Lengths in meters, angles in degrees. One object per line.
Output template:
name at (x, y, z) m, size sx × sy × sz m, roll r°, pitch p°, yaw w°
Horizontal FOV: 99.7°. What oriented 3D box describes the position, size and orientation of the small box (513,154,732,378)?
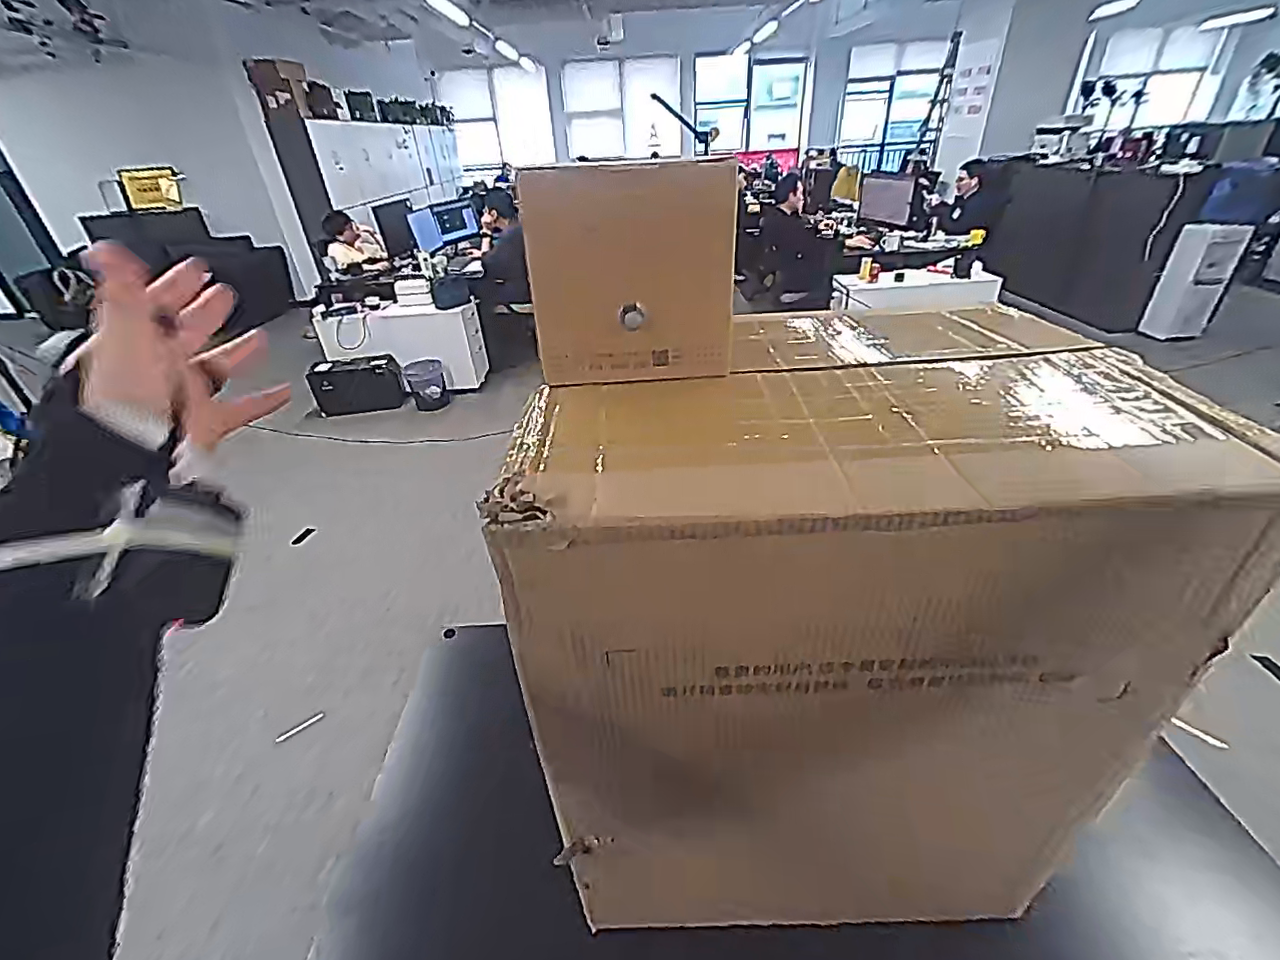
small box at (-0.014, -0.204, 0.509) m, size 0.168 × 0.176 × 0.179 m, roll -4°, pitch 31°, yaw -1°
